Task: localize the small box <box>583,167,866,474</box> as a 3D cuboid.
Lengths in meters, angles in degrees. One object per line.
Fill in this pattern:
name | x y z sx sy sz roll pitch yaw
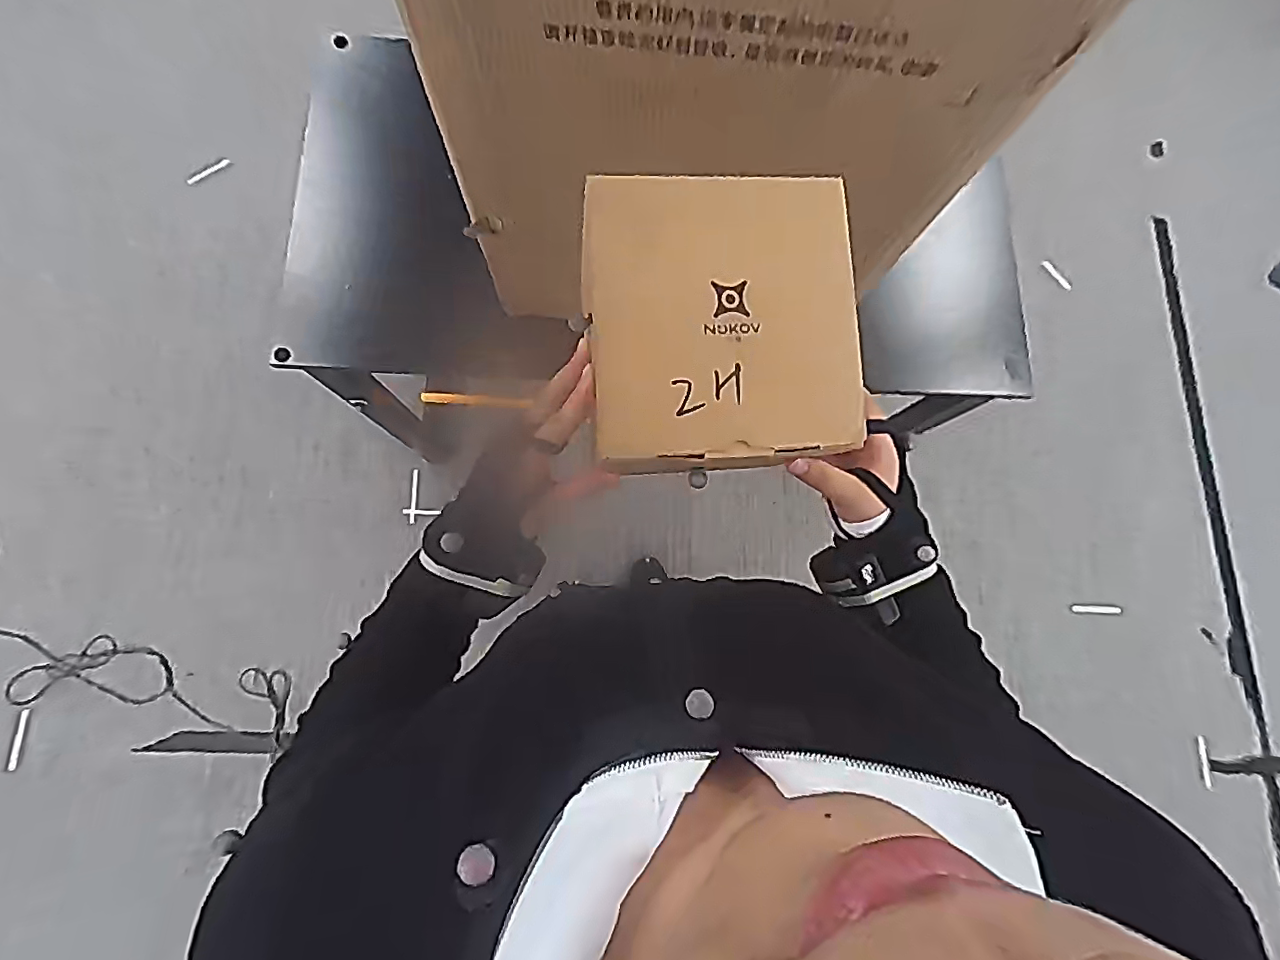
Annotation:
small box | 0.045 -0.100 0.407 0.168 0.176 0.179 -3 88 -7
